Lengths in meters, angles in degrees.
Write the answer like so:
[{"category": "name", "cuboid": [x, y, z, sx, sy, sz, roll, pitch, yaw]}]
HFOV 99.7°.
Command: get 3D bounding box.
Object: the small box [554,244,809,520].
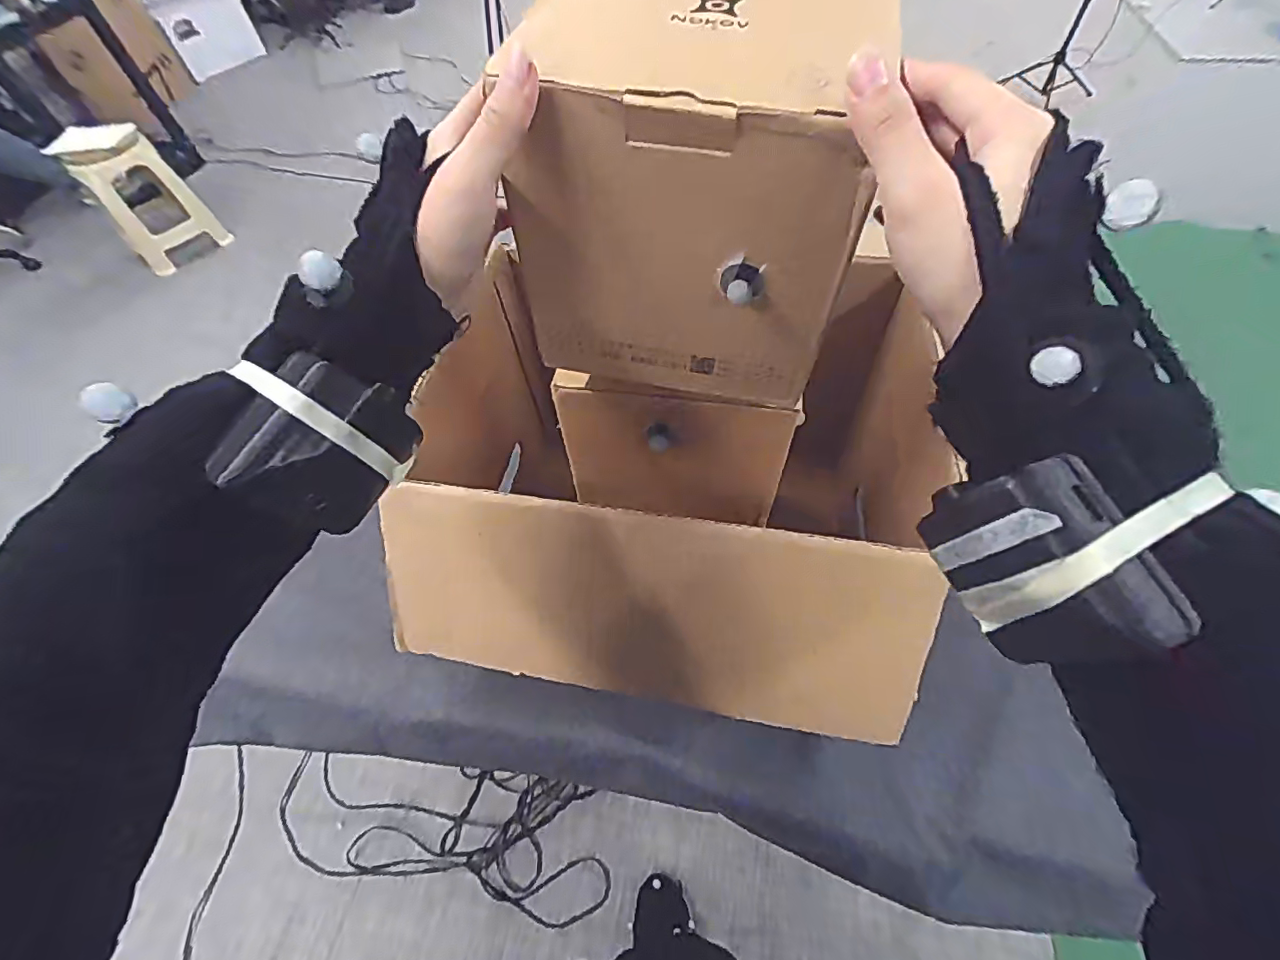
[{"category": "small box", "cuboid": [0.042, -0.080, 0.478, 0.179, 0.176, 0.168, 7, 56, 8]}]
